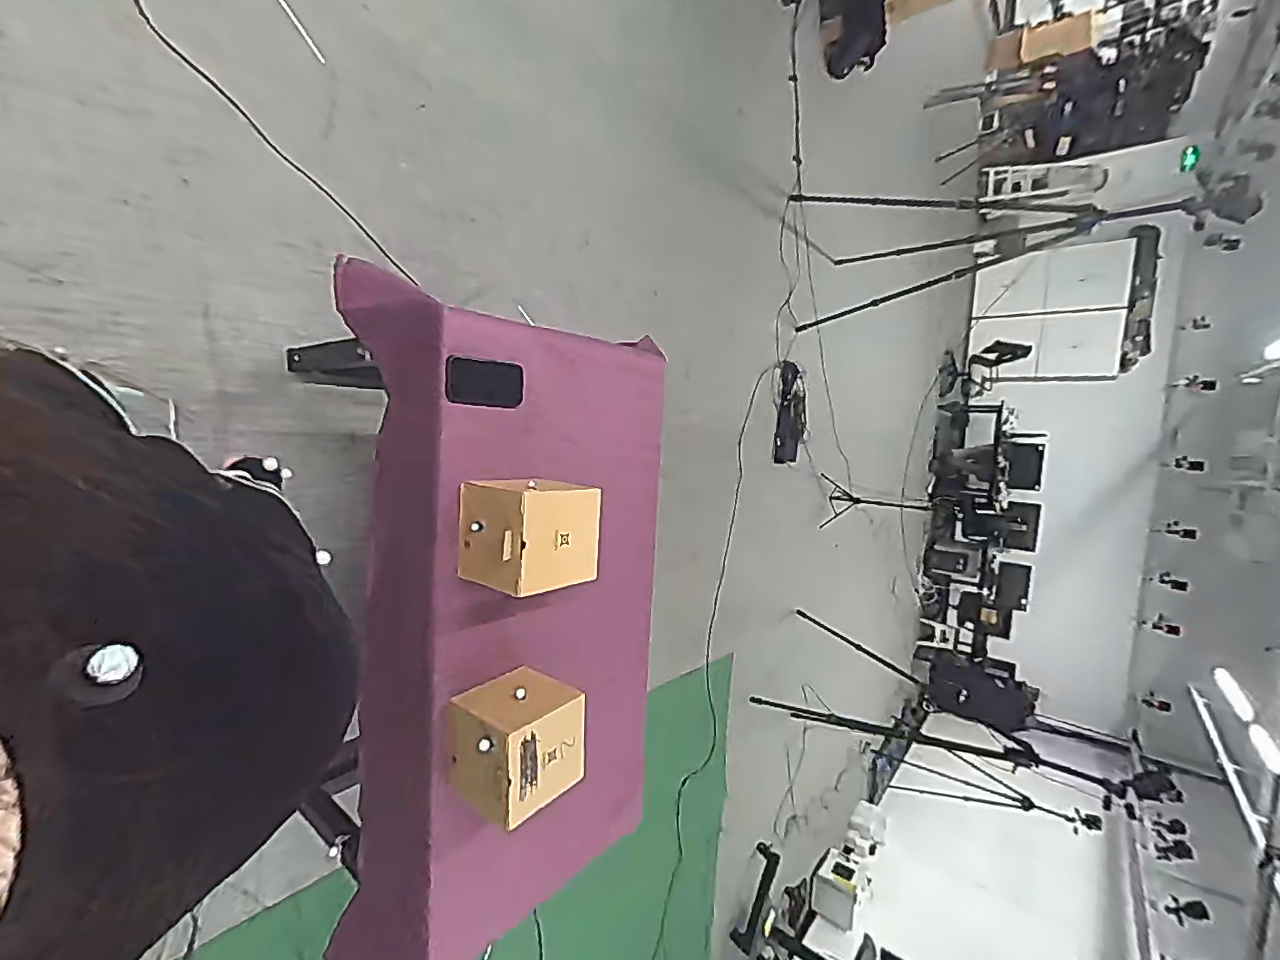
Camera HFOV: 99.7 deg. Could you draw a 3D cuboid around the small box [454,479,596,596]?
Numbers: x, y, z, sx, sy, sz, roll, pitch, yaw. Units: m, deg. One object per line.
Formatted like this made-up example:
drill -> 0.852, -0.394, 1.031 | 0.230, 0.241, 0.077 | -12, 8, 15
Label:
small box -> -0.202, 0.090, 0.954 | 0.179, 0.176, 0.168 | -3, 98, -51
